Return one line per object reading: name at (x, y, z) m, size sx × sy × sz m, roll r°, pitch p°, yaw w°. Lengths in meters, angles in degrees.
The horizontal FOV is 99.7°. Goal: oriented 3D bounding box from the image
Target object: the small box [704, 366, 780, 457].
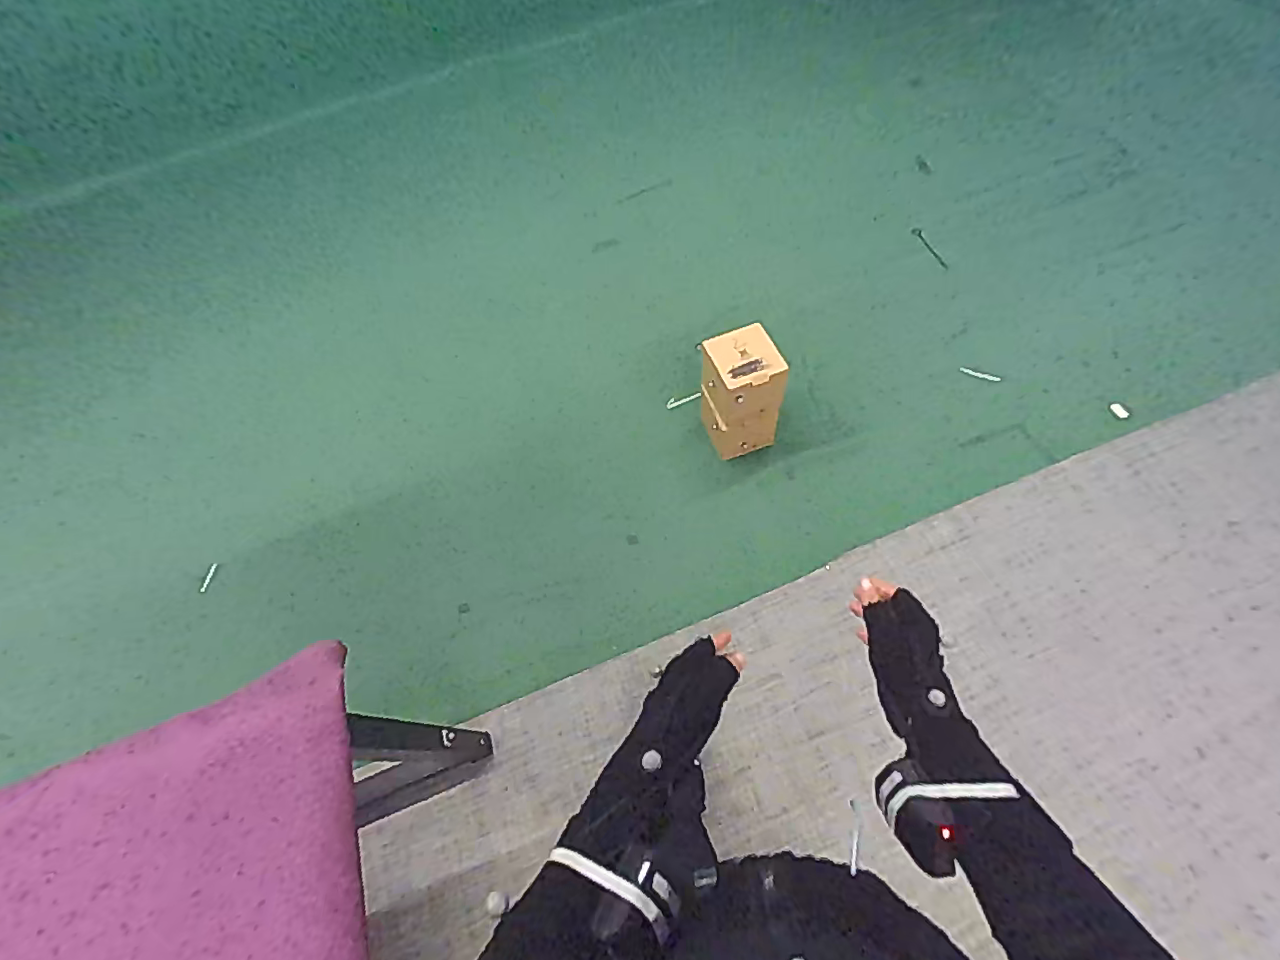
small box at (0.291, -0.197, 1.589) m, size 0.168 × 0.176 × 0.179 m, roll -19°, pitch 62°, yaw -4°
